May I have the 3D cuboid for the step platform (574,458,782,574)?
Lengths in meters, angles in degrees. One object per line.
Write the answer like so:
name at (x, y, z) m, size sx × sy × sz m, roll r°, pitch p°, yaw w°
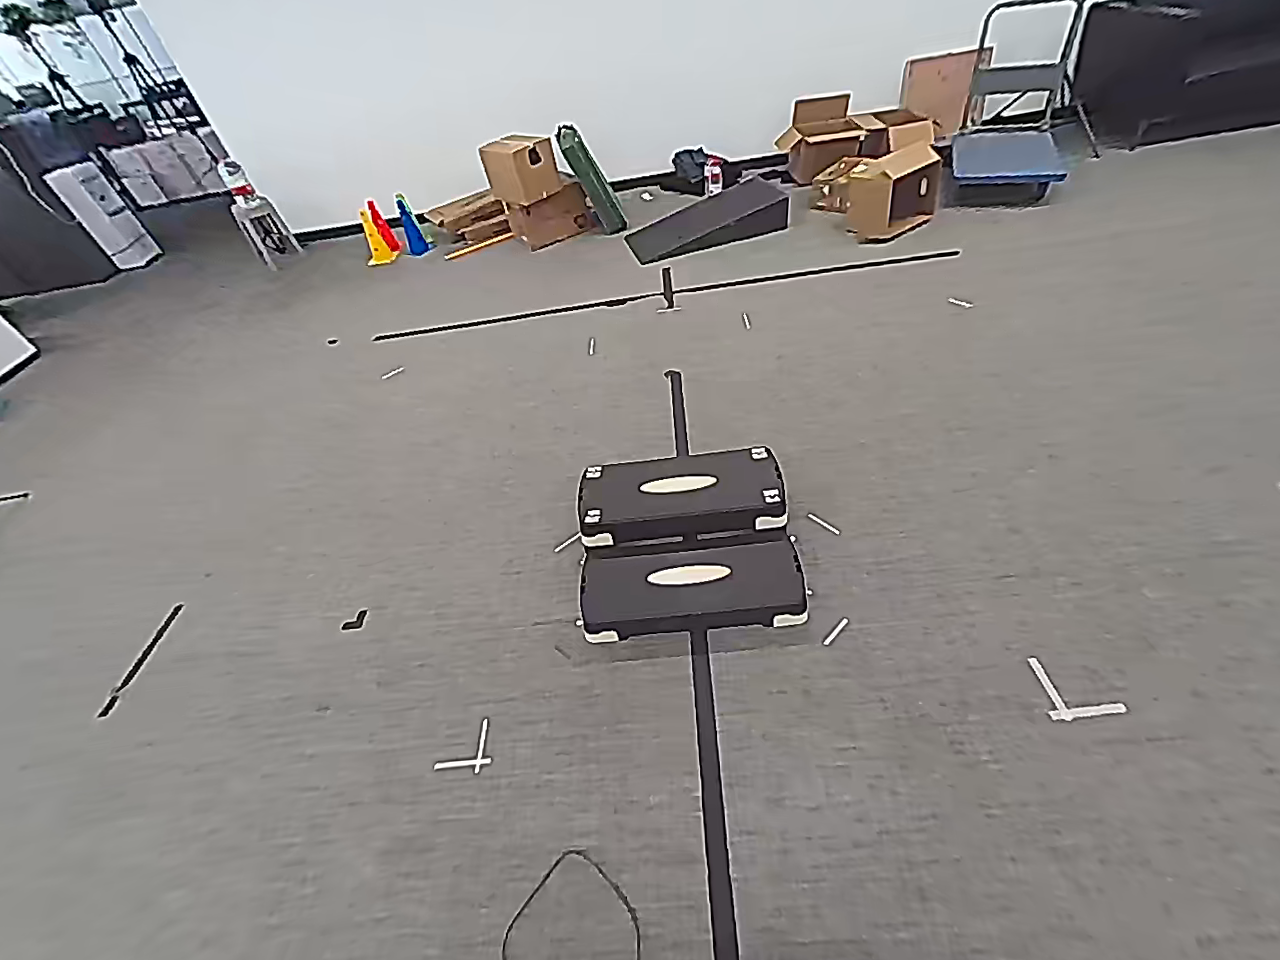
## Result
step platform at (0.121, 0.115, 1.809) m, size 0.684 × 0.204 × 0.286 m, roll -7°, pitch 45°, yaw 4°
